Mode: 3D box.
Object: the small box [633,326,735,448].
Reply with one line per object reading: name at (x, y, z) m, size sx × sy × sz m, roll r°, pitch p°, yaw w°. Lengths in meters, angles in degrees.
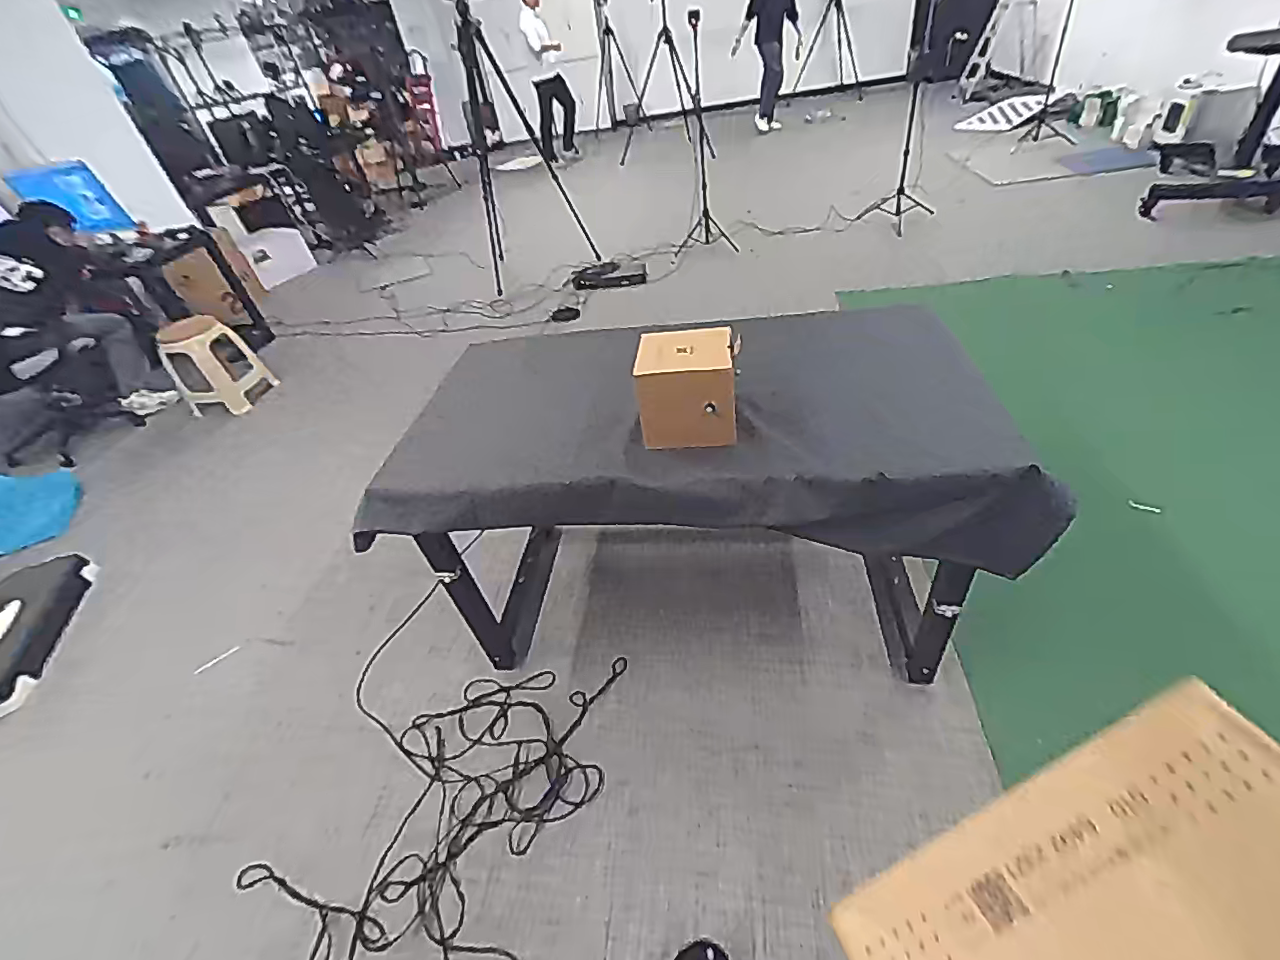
small box at (0.093, -0.176, 1.044) m, size 0.179 × 0.176 × 0.168 m, roll -3°, pitch 39°, yaw 11°
